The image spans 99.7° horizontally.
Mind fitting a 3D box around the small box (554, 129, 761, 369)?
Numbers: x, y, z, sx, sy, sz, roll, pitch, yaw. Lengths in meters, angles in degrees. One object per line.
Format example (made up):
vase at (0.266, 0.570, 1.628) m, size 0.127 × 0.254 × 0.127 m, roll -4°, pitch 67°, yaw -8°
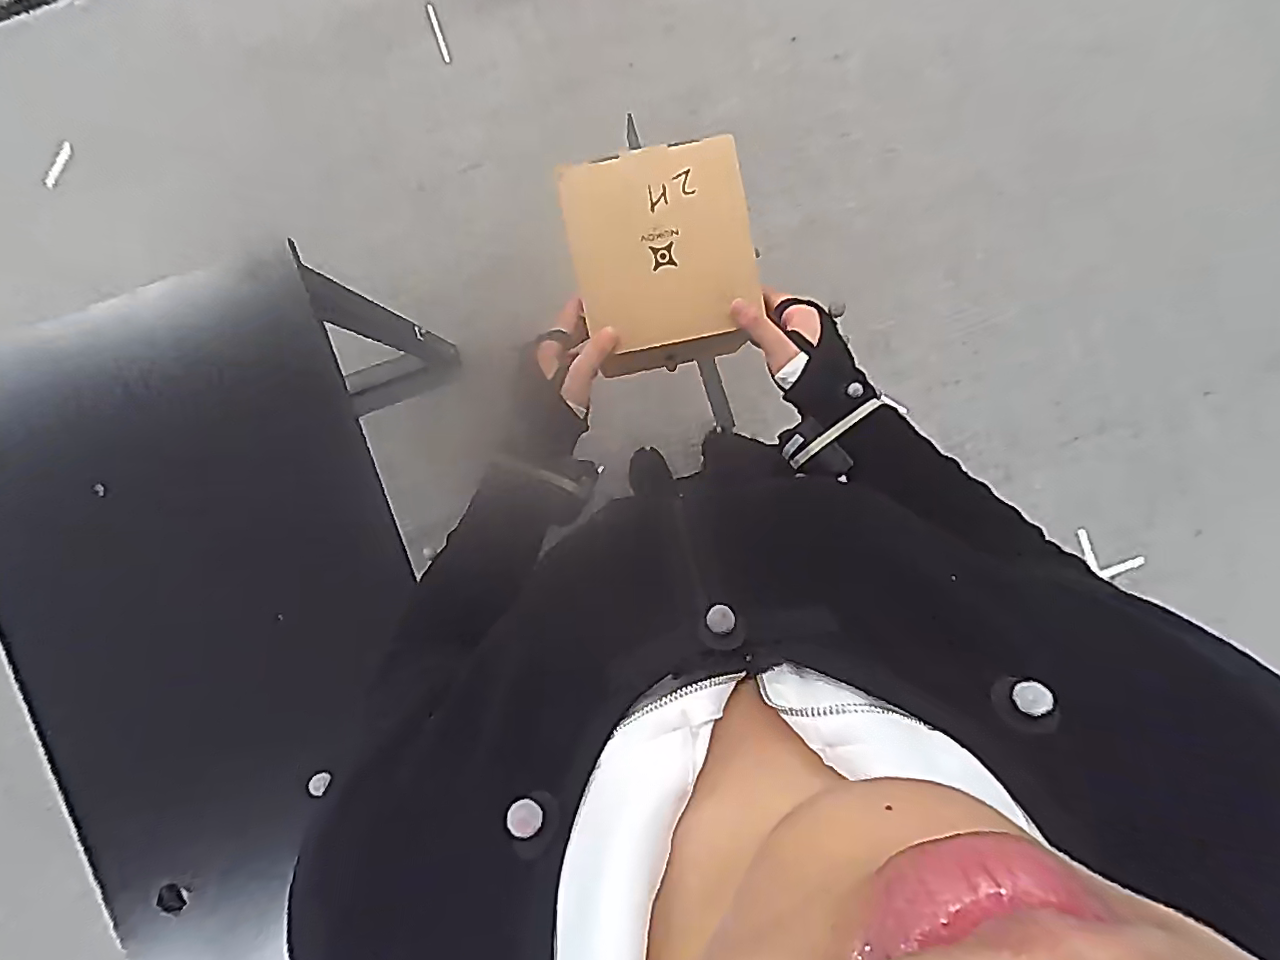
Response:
small box at (0.019, -0.221, 0.571) m, size 0.168 × 0.176 × 0.179 m, roll -11°, pitch 93°, yaw 1°
